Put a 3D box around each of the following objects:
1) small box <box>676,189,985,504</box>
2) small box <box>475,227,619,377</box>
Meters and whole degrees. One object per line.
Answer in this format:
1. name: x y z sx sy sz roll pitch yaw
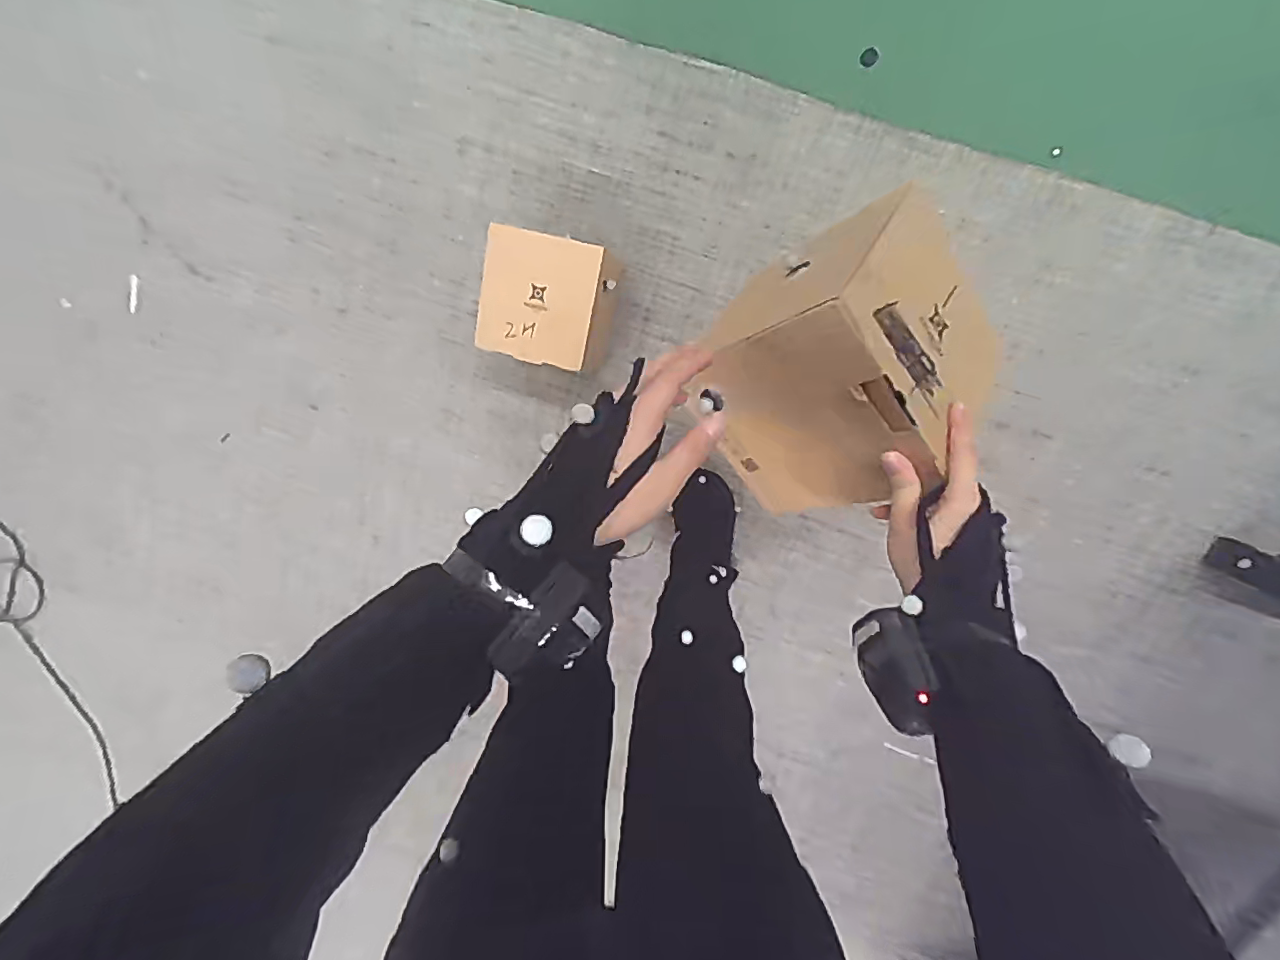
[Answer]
1. small box: 0.157 -0.098 0.464 0.168 0.179 0.176 49 146 -18
2. small box: -0.135 -0.271 0.844 0.168 0.176 0.179 14 107 5
